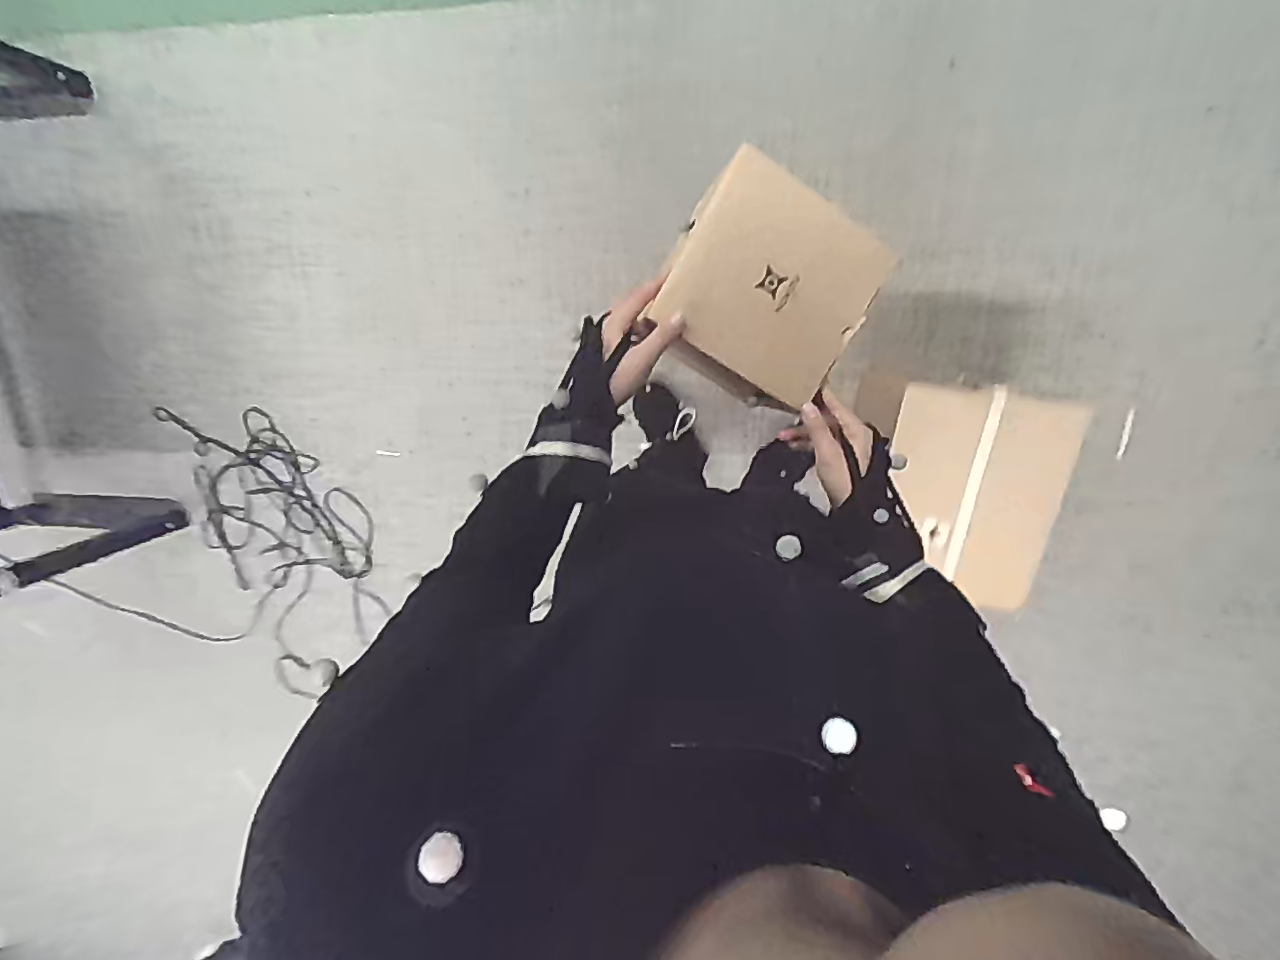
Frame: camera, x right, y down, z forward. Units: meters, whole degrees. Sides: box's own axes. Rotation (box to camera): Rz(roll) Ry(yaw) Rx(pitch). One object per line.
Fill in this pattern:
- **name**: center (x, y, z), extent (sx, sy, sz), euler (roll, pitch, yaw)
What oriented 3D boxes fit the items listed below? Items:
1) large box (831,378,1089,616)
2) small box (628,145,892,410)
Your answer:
- **large box**: center (0.619, 0.011, 1.131), extent (0.320, 0.320, 0.408), euler (8, 107, 6)
- **small box**: center (0.102, -0.186, 0.551), extent (0.179, 0.176, 0.168), euler (27, 97, -12)
